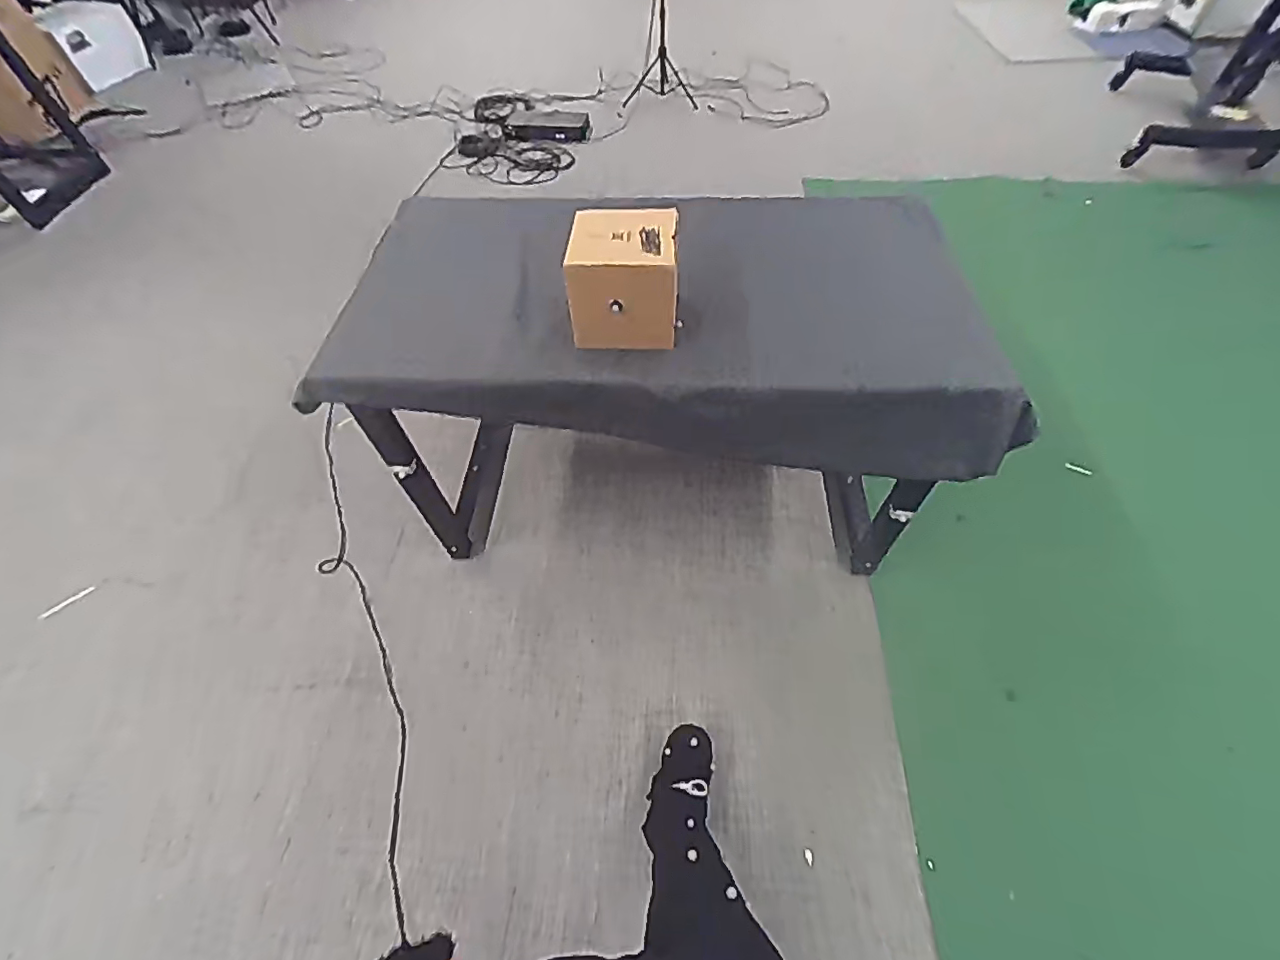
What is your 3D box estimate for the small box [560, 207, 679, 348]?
[{"bbox_3d":[-0.027,-0.349,0.944,0.179,0.176,0.168,5,53,5],"label":"small box"}]
